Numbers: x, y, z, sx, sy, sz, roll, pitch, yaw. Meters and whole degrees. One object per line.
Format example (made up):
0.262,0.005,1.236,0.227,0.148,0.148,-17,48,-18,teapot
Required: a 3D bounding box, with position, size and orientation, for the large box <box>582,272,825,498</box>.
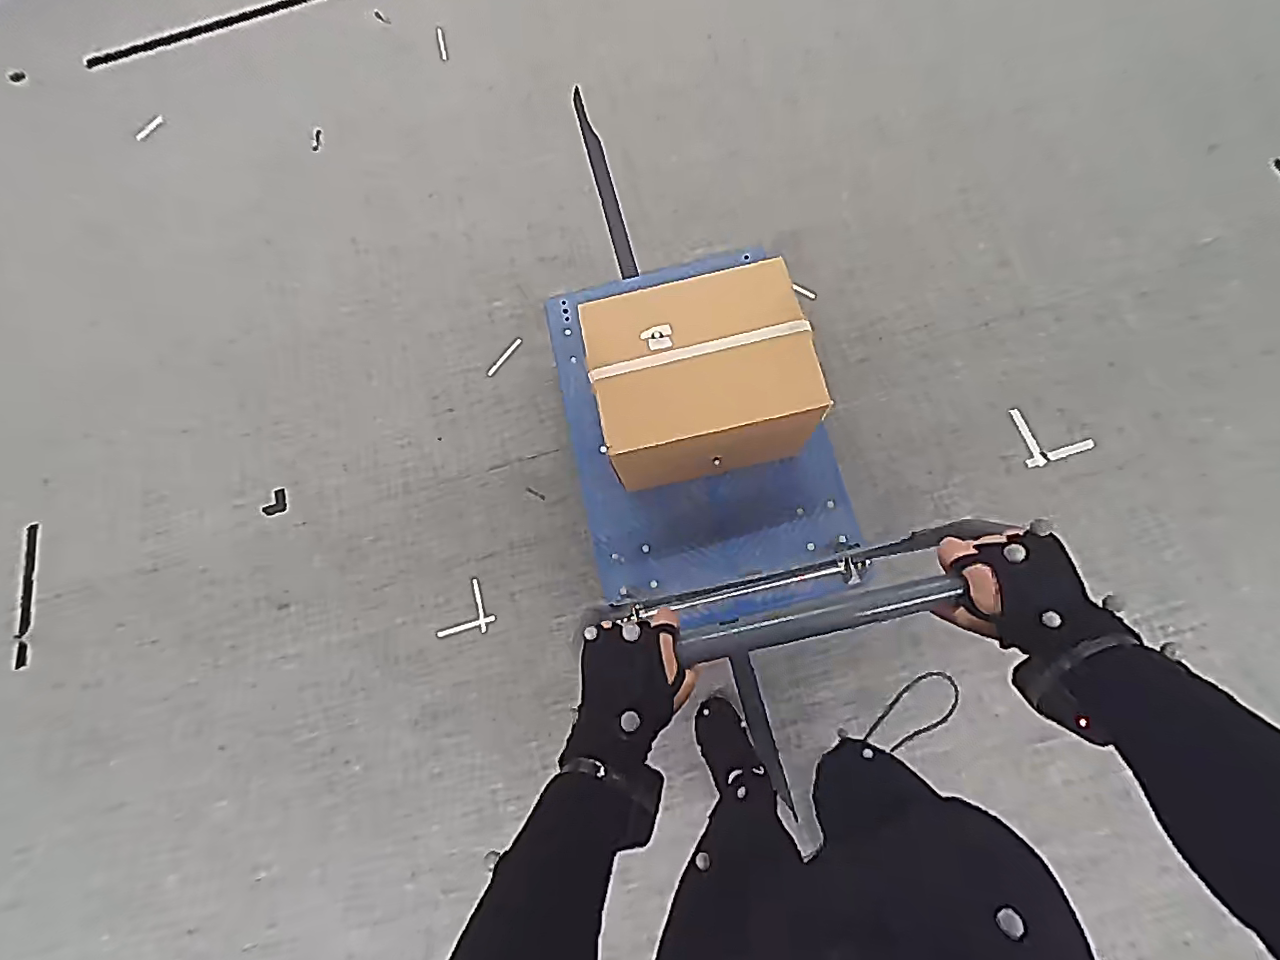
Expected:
0.126,-0.178,1.159,0.408,0.320,0.320,-14,74,3,large box
